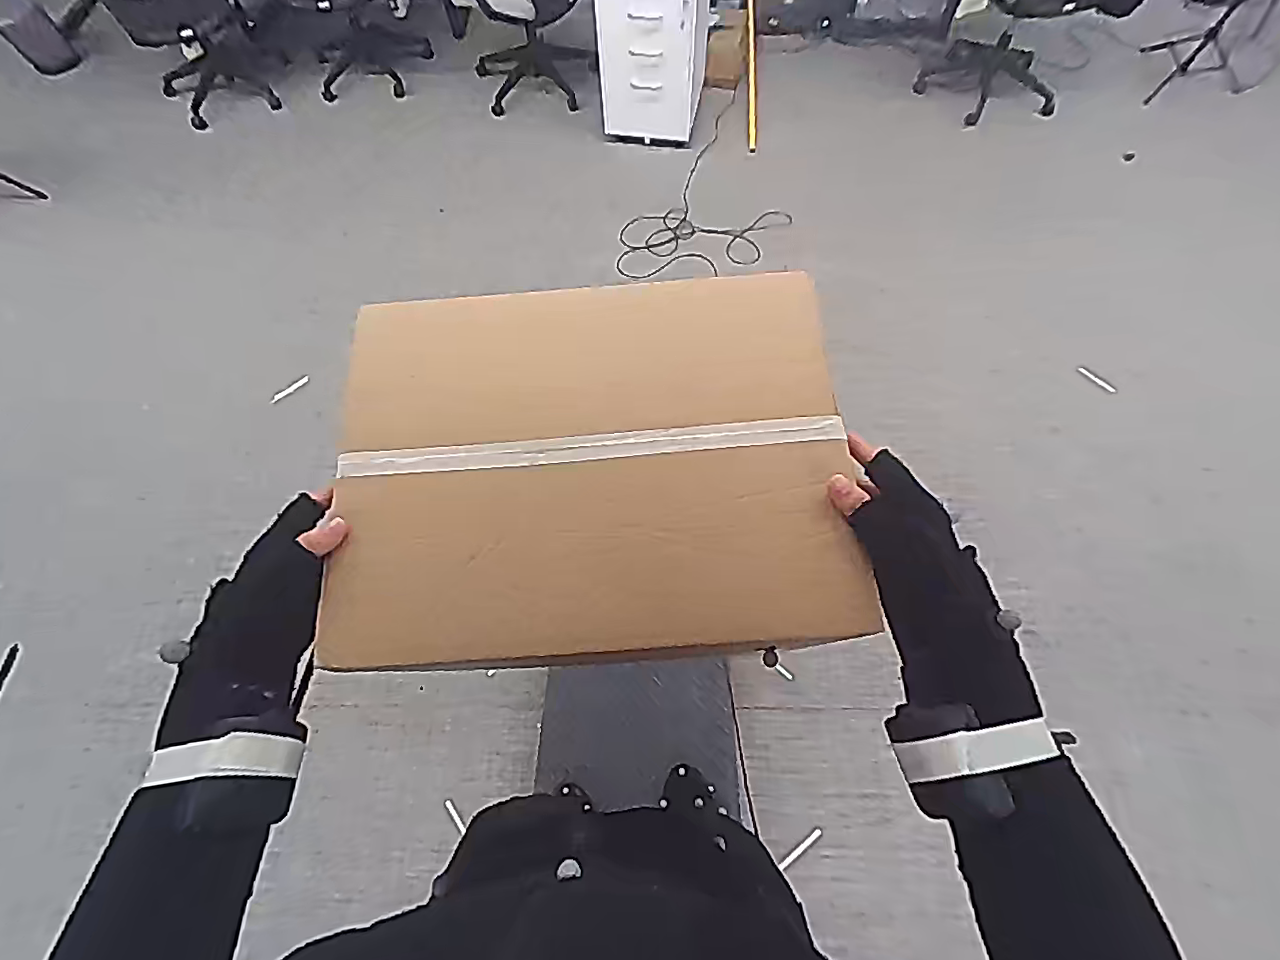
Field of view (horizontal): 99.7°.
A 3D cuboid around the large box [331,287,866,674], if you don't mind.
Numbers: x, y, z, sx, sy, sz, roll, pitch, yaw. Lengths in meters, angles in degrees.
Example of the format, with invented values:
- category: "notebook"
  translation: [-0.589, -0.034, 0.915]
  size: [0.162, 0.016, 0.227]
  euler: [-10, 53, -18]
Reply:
- category: "large box"
  translation: [-0.034, 0.031, 0.583]
  size: [0.408, 0.320, 0.320]
  euler: [-4, 70, 1]
